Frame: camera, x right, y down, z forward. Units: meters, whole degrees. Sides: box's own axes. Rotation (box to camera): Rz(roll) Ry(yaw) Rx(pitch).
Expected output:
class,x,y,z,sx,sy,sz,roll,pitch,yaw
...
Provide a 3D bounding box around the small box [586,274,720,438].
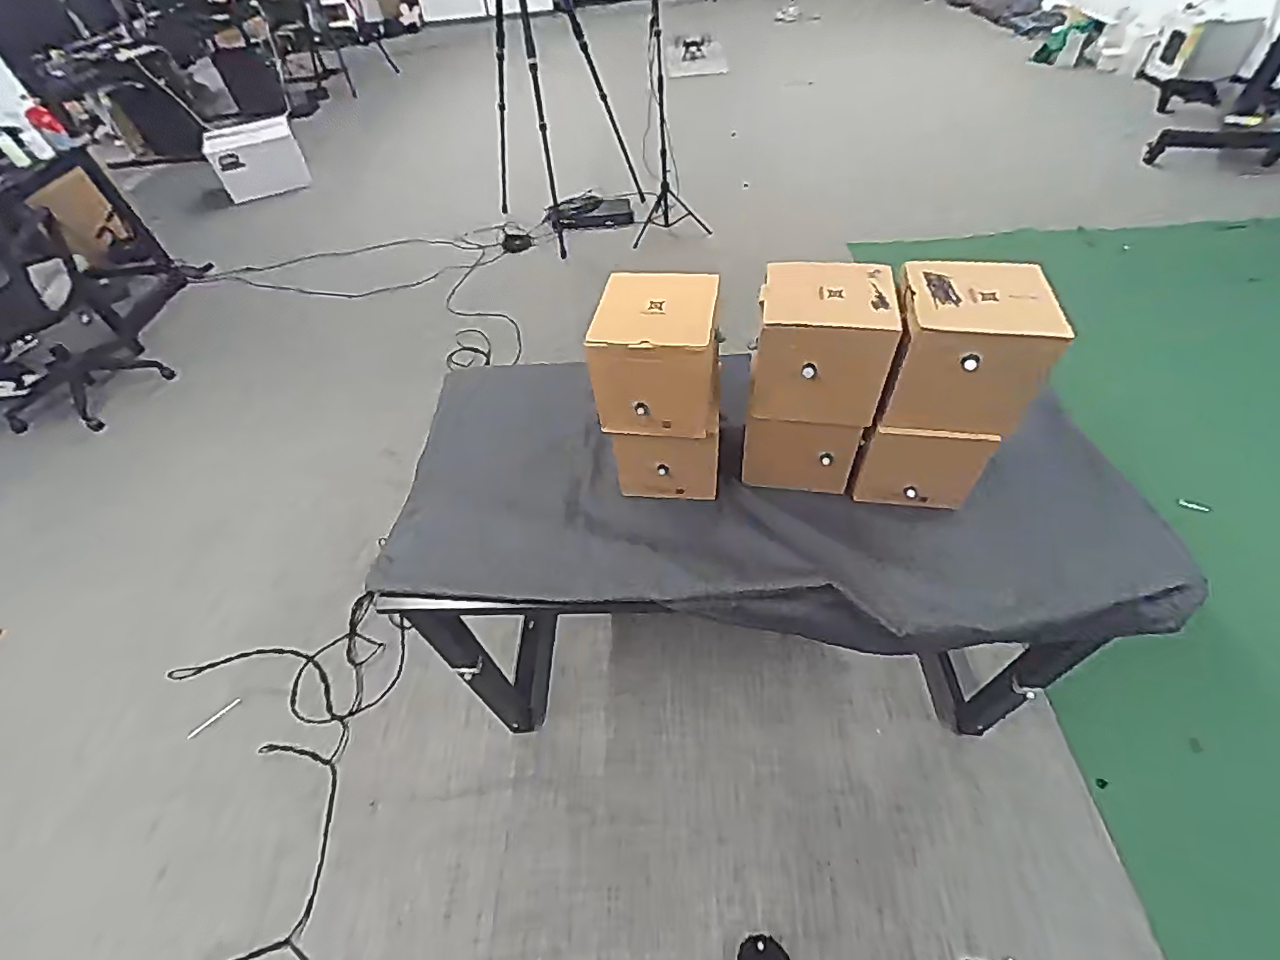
class,x,y,z,sx,sy,sz,roll,pitch,yaw
small box,0.029,-0.187,0.815,0.168,0.176,0.179,4,52,11
